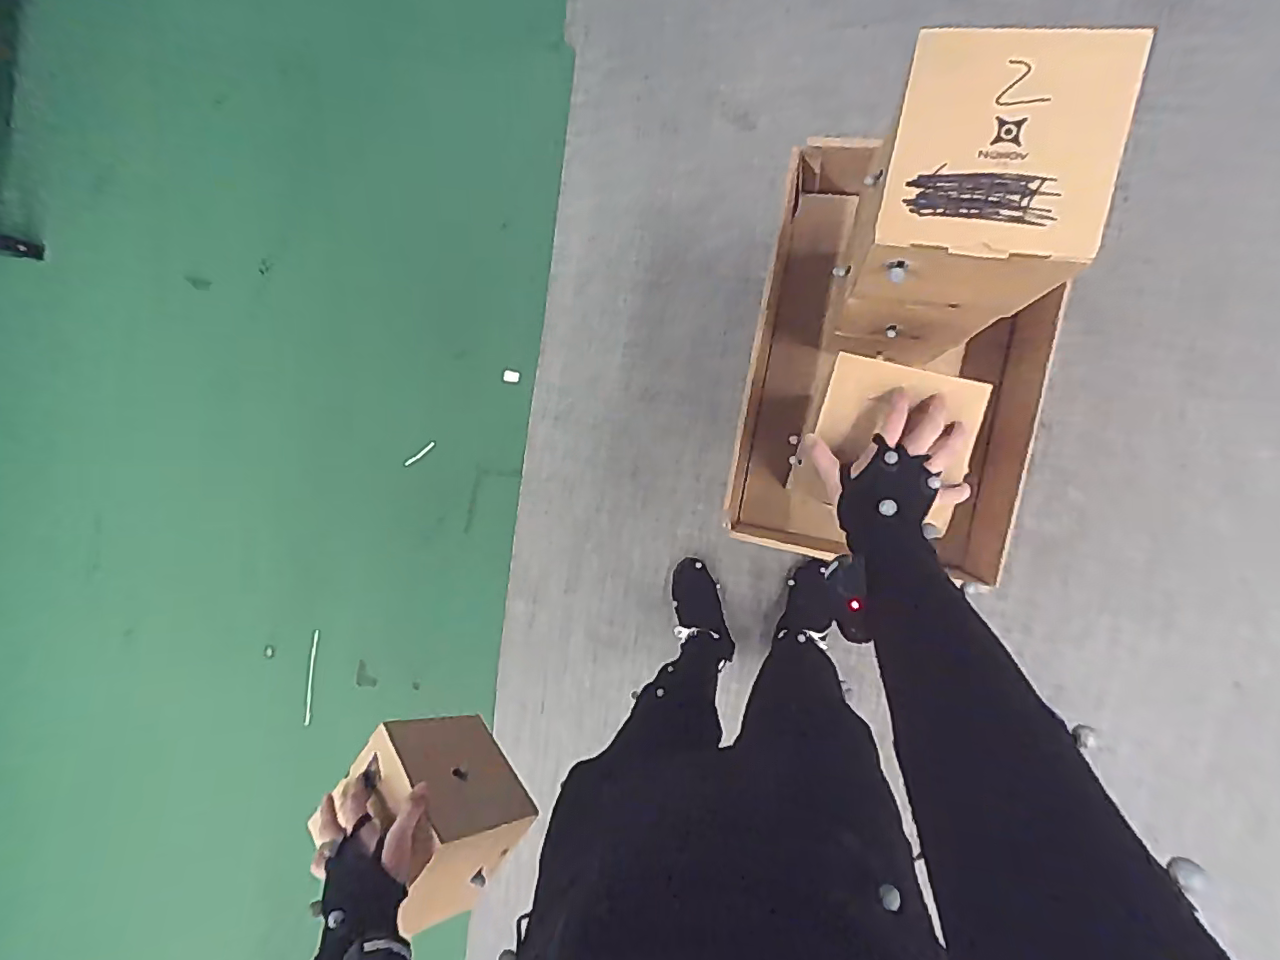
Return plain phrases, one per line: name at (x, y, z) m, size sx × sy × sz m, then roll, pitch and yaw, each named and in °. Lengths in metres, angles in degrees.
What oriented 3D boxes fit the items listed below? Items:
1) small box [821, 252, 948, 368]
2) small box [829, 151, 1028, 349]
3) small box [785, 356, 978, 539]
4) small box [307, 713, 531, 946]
small box at (0.383, -0.283, 0.837) m, size 0.168 × 0.176 × 0.179 m, roll 11°, pitch 95°, yaw 14°
small box at (0.343, -0.277, 0.681) m, size 0.168 × 0.176 × 0.179 m, roll 11°, pitch 95°, yaw 13°
small box at (0.292, -0.038, 0.694) m, size 0.168 × 0.176 × 0.179 m, roll 17°, pitch 93°, yaw 13°
small box at (-0.278, 0.426, 0.696) m, size 0.179 × 0.176 × 0.168 m, roll 39°, pitch 94°, yaw 33°
